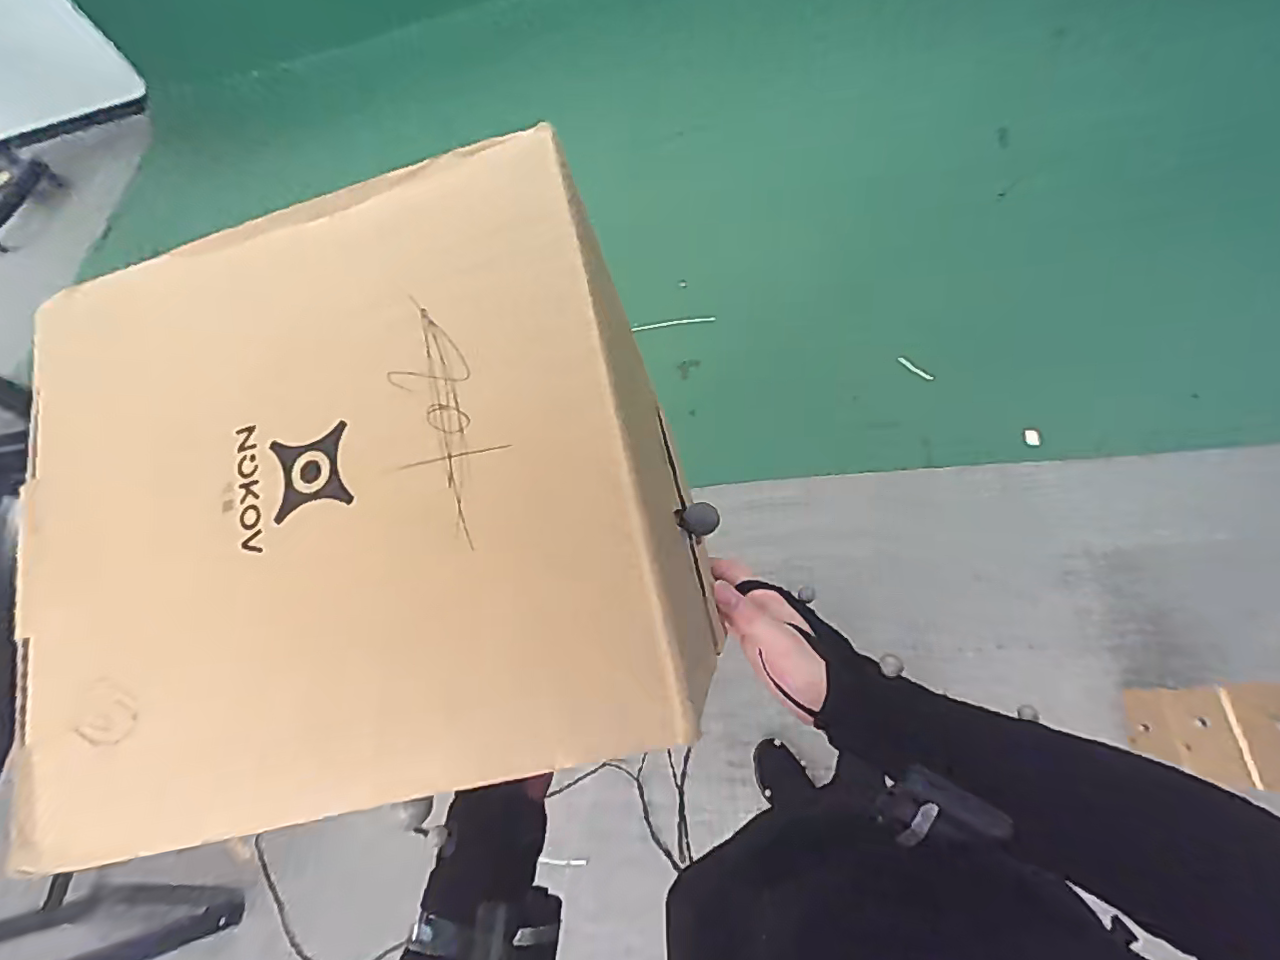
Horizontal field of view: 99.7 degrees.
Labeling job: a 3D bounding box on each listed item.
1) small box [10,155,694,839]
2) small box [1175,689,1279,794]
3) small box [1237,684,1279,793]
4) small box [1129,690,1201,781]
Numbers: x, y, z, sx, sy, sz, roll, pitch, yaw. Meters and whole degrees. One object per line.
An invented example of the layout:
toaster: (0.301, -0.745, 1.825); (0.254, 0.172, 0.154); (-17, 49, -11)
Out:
small box: (-0.084, 0.017, 0.229); (0.179, 0.176, 0.168); (-15, 75, 7)
small box: (1.135, 0.472, 0.980); (0.179, 0.176, 0.168); (-5, 65, 12)
small box: (1.103, 0.407, 0.832); (0.168, 0.176, 0.179); (-5, 65, 12)
small box: (1.172, 0.534, 1.125); (0.179, 0.176, 0.168); (-3, 67, 13)
